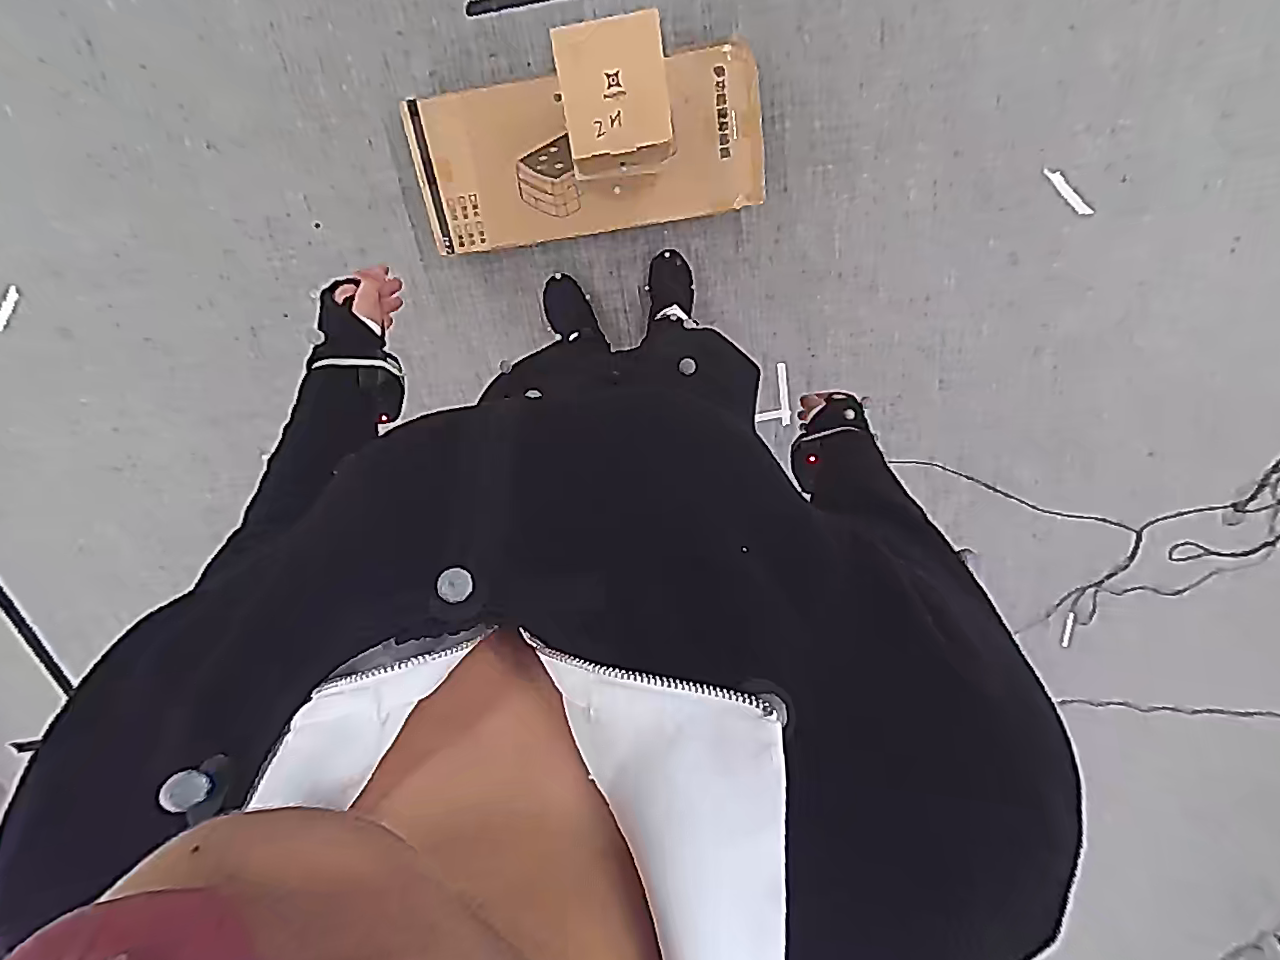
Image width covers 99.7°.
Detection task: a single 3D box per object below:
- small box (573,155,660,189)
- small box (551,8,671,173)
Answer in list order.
[{"bbox_3d":[-0.050,-0.686,1.065,0.168,0.176,0.179,-4,113,1],"label":"small box"},{"bbox_3d":[-0.044,-0.637,0.906,0.168,0.176,0.179,-8,112,3],"label":"small box"}]
